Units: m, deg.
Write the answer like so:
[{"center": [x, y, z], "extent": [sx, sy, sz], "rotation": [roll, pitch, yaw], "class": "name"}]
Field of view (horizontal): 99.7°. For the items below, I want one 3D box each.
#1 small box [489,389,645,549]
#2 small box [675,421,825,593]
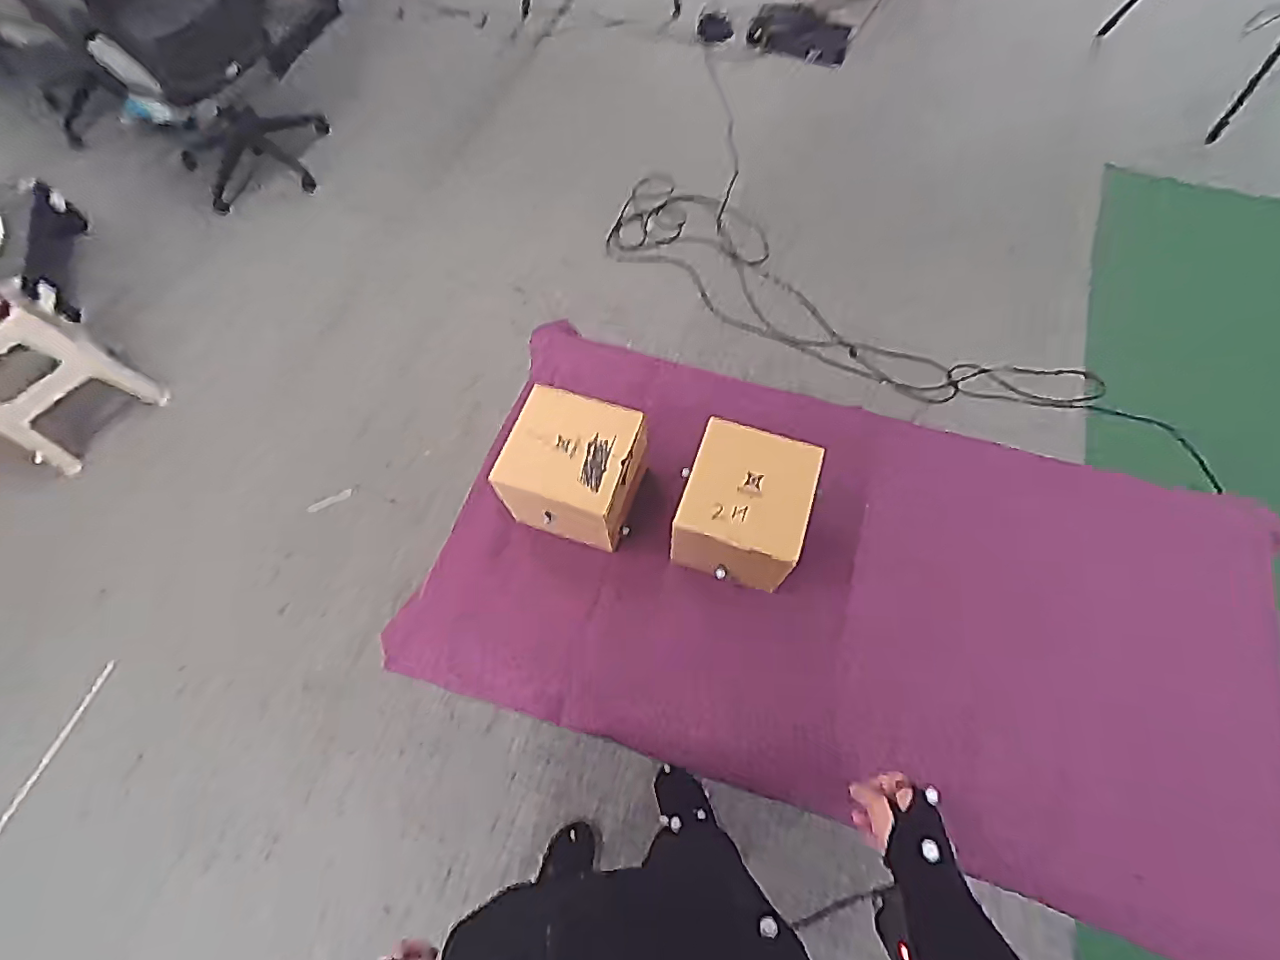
[{"center": [-0.096, -0.008, 0.827], "extent": [0.179, 0.176, 0.168], "rotation": [16, 67, 10], "class": "small box"}, {"center": [0.152, 0.046, 0.795], "extent": [0.168, 0.176, 0.179], "rotation": [17, 68, 10], "class": "small box"}]
